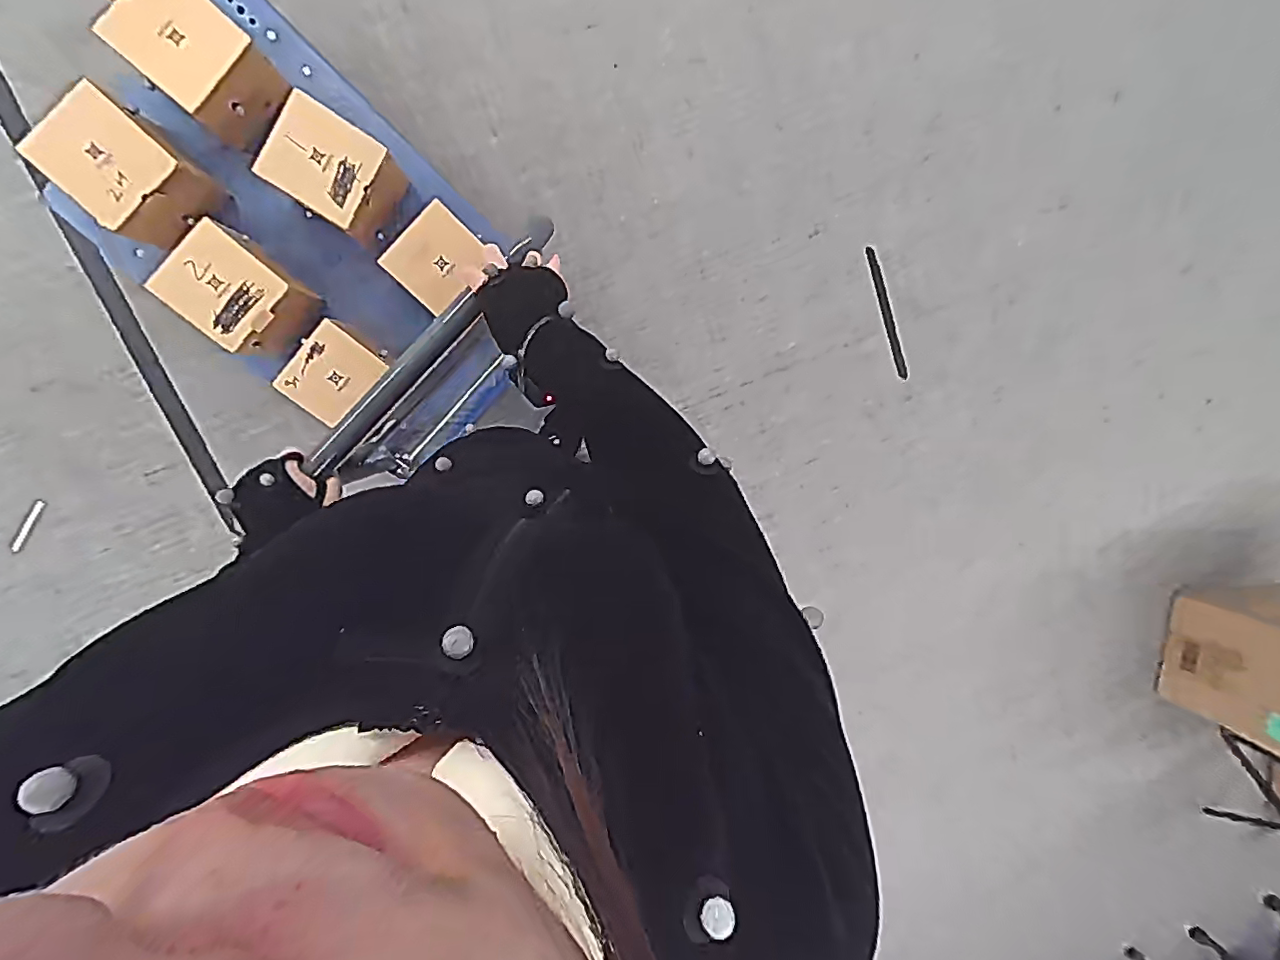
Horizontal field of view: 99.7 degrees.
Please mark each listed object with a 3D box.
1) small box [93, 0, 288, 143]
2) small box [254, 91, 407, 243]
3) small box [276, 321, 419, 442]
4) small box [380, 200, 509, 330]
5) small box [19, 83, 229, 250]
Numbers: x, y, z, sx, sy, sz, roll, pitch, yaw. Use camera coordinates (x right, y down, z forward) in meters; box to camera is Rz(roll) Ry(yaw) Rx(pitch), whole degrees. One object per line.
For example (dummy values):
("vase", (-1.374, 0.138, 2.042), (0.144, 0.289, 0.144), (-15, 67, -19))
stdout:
("small box", (-0.785, -0.746, 0.970), (0.179, 0.176, 0.168), (39, 92, -15))
("small box", (-0.579, -0.582, 1.041), (0.179, 0.176, 0.168), (30, 94, -14))
("small box", (-0.583, -0.202, 1.110), (0.179, 0.176, 0.168), (39, 91, -15))
("small box", (-0.386, -0.426, 1.108), (0.179, 0.176, 0.168), (43, 90, -14))
("small box", (-0.915, -0.551, 0.980), (0.168, 0.176, 0.179), (-46, 106, 0))
